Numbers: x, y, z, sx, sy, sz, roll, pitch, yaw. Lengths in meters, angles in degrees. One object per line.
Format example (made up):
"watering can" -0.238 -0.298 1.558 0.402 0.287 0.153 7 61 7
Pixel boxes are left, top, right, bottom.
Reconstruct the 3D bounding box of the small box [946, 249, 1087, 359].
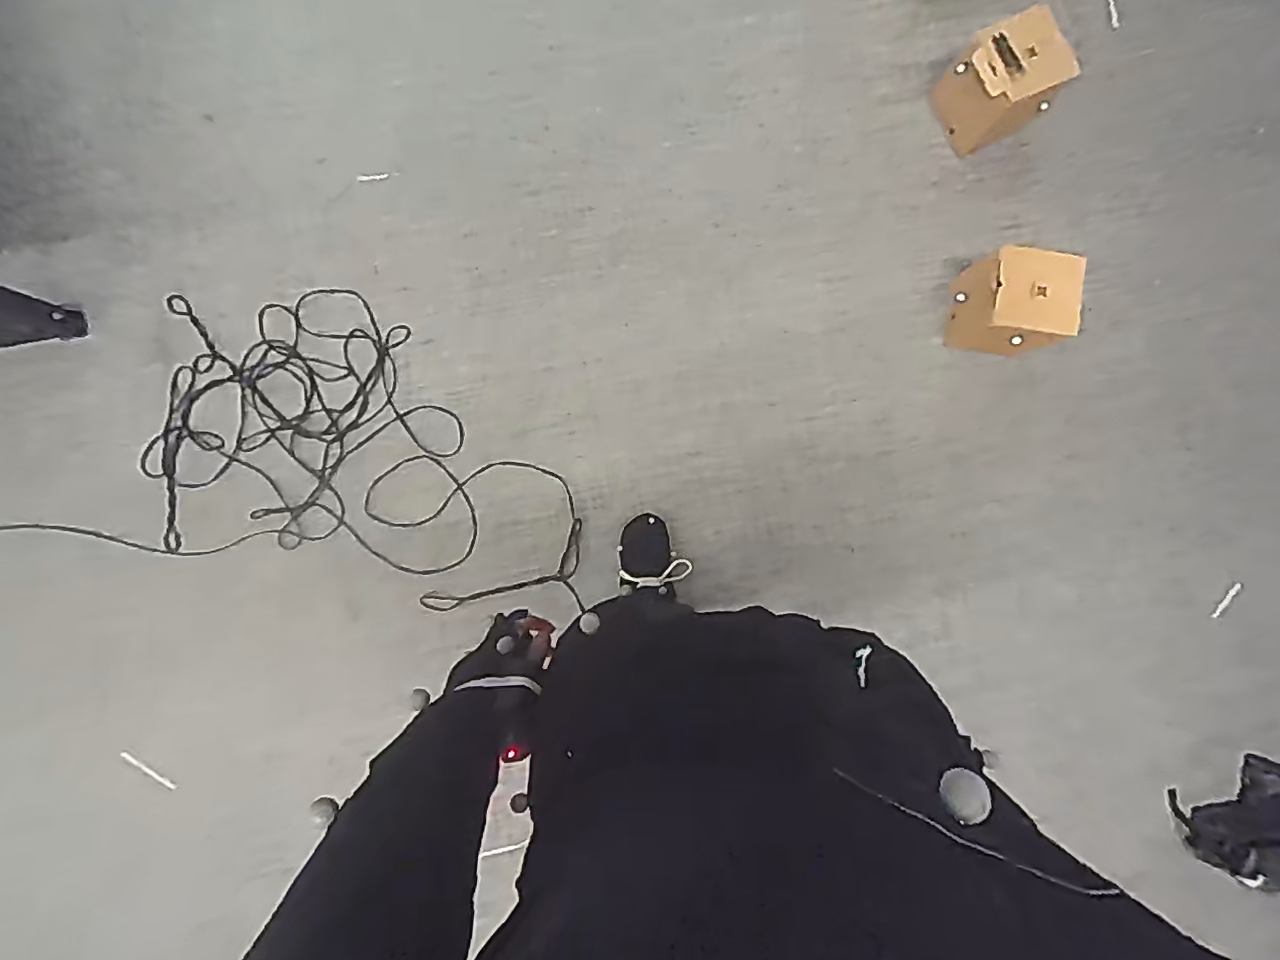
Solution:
"small box" 0.799 -0.368 1.160 0.179 0.176 0.168 9 87 0
